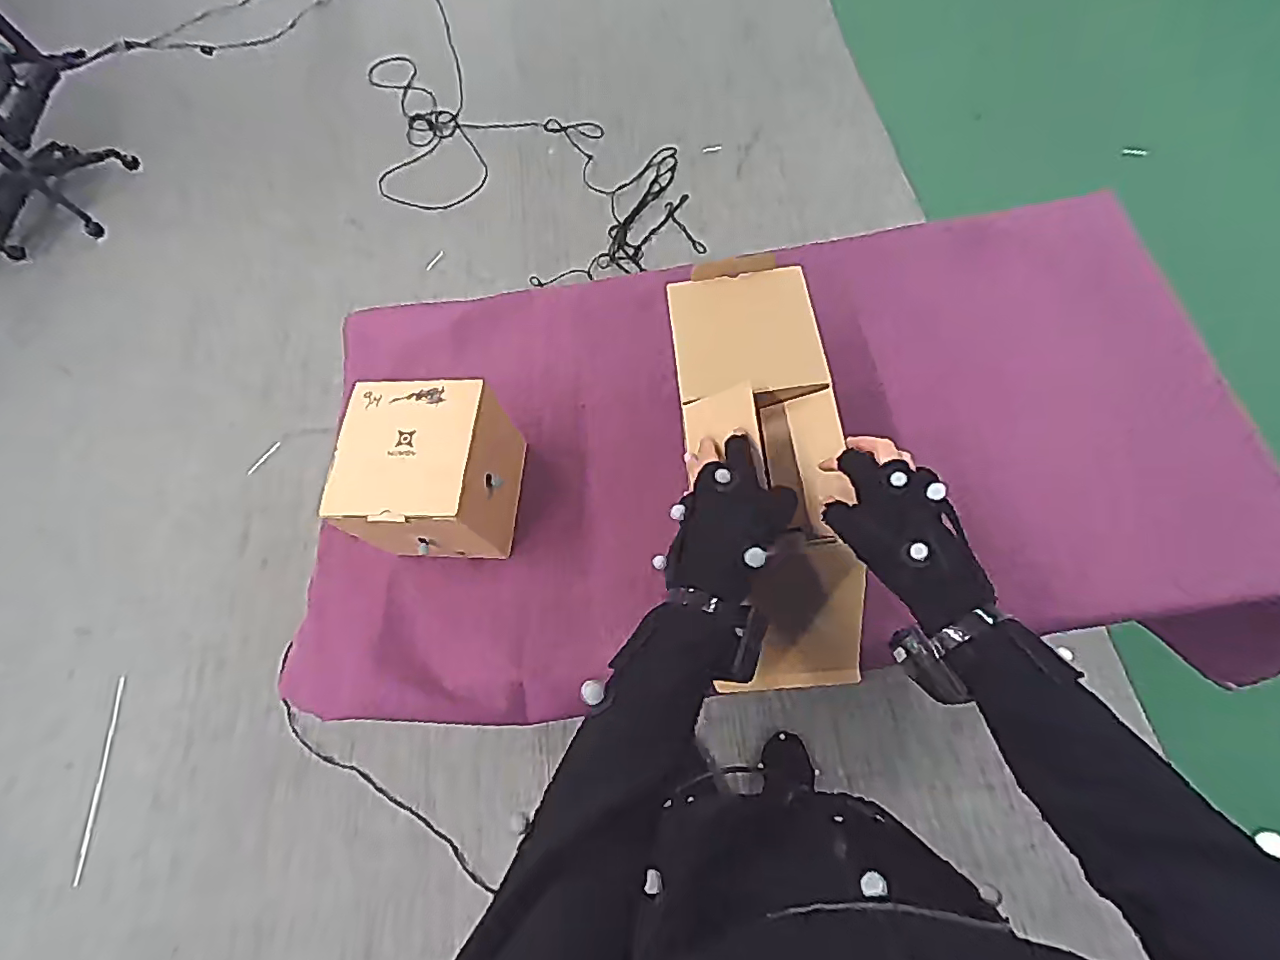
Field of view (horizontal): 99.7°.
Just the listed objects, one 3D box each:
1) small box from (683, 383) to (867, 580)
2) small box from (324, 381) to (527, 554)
[{"bbox_3d":[0.143,0.014,0.628,0.168,0.176,0.179,-6,66,5],"label":"small box"},{"bbox_3d":[-0.255,-0.008,0.691,0.168,0.176,0.179,1,68,8],"label":"small box"}]
